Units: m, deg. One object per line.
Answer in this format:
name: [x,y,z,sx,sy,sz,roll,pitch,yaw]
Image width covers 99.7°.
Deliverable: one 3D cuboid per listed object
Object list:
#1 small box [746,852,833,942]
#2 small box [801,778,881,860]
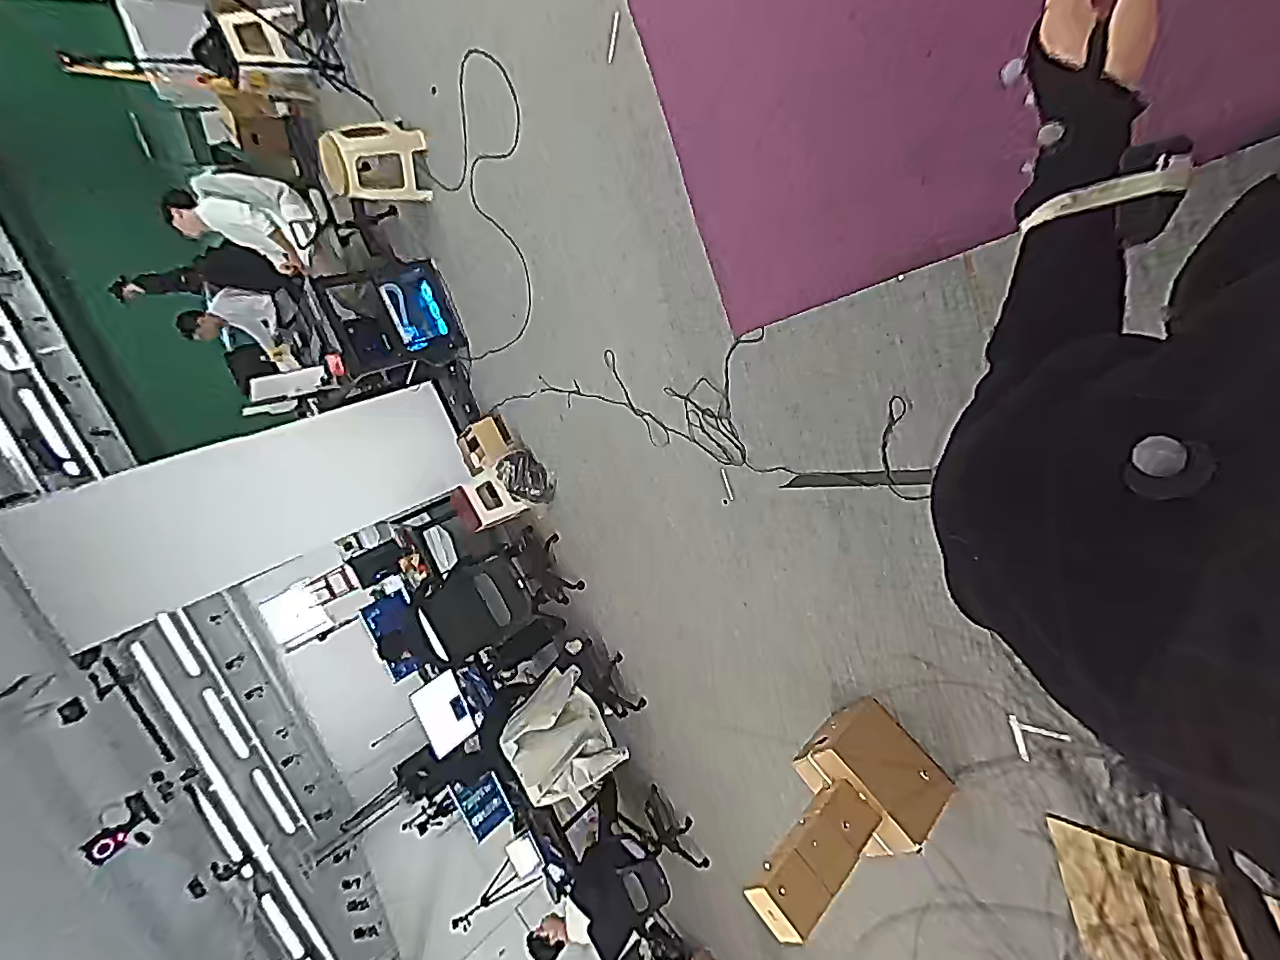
small box: [0.483,1.341,1.752,0.179,0.176,0.168,47,144,21]
small box: [0.723,1.215,1.938,0.179,0.176,0.168,47,143,22]
